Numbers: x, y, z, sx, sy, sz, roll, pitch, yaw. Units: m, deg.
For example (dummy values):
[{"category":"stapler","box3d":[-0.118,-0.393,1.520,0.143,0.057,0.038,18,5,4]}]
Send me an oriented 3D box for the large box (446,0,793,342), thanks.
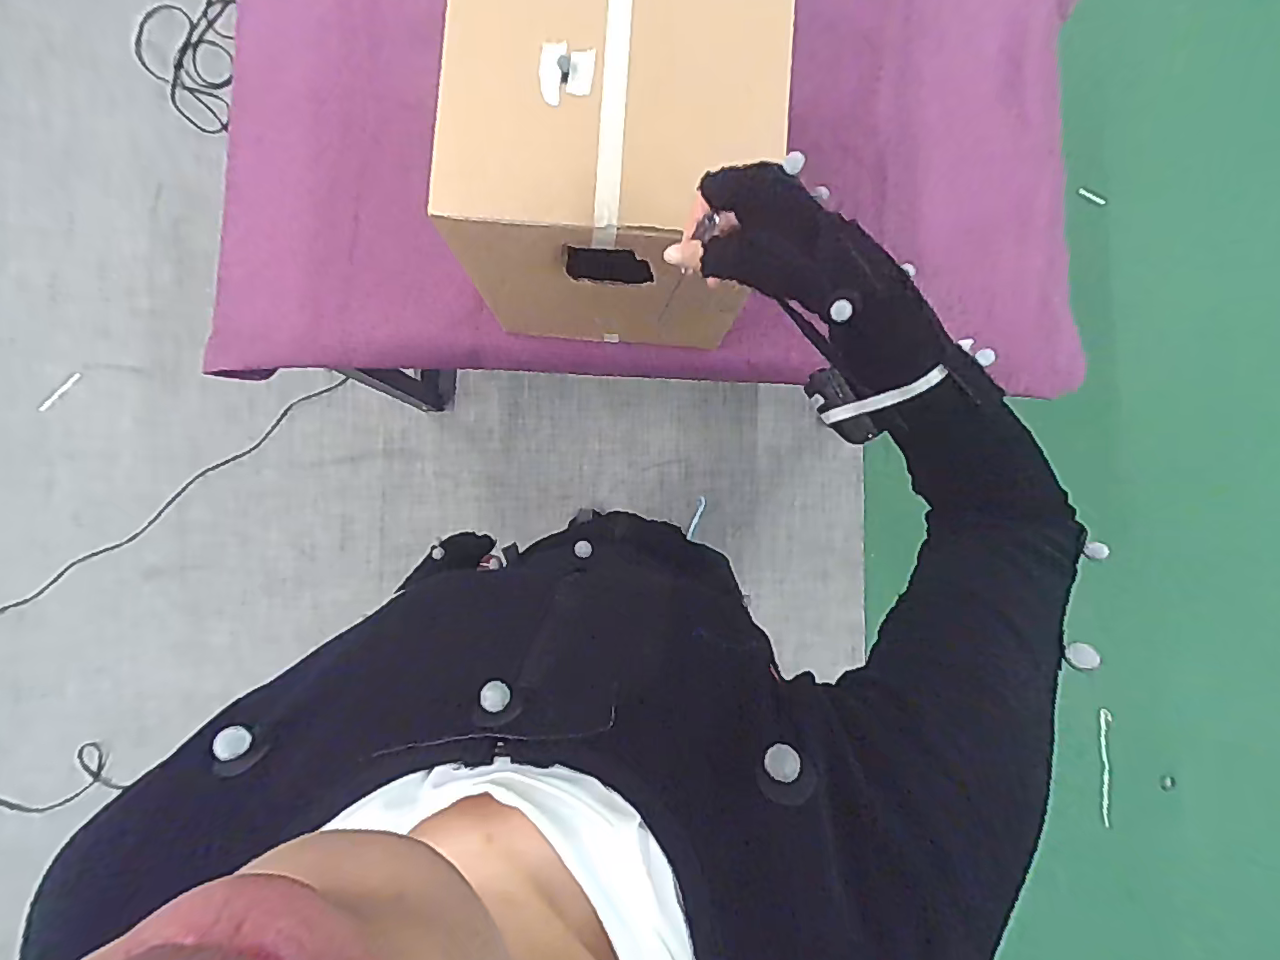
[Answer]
[{"category":"large box","box3d":[-0.019,-0.417,0.649,0.320,0.320,0.408,5,87,-2]}]
